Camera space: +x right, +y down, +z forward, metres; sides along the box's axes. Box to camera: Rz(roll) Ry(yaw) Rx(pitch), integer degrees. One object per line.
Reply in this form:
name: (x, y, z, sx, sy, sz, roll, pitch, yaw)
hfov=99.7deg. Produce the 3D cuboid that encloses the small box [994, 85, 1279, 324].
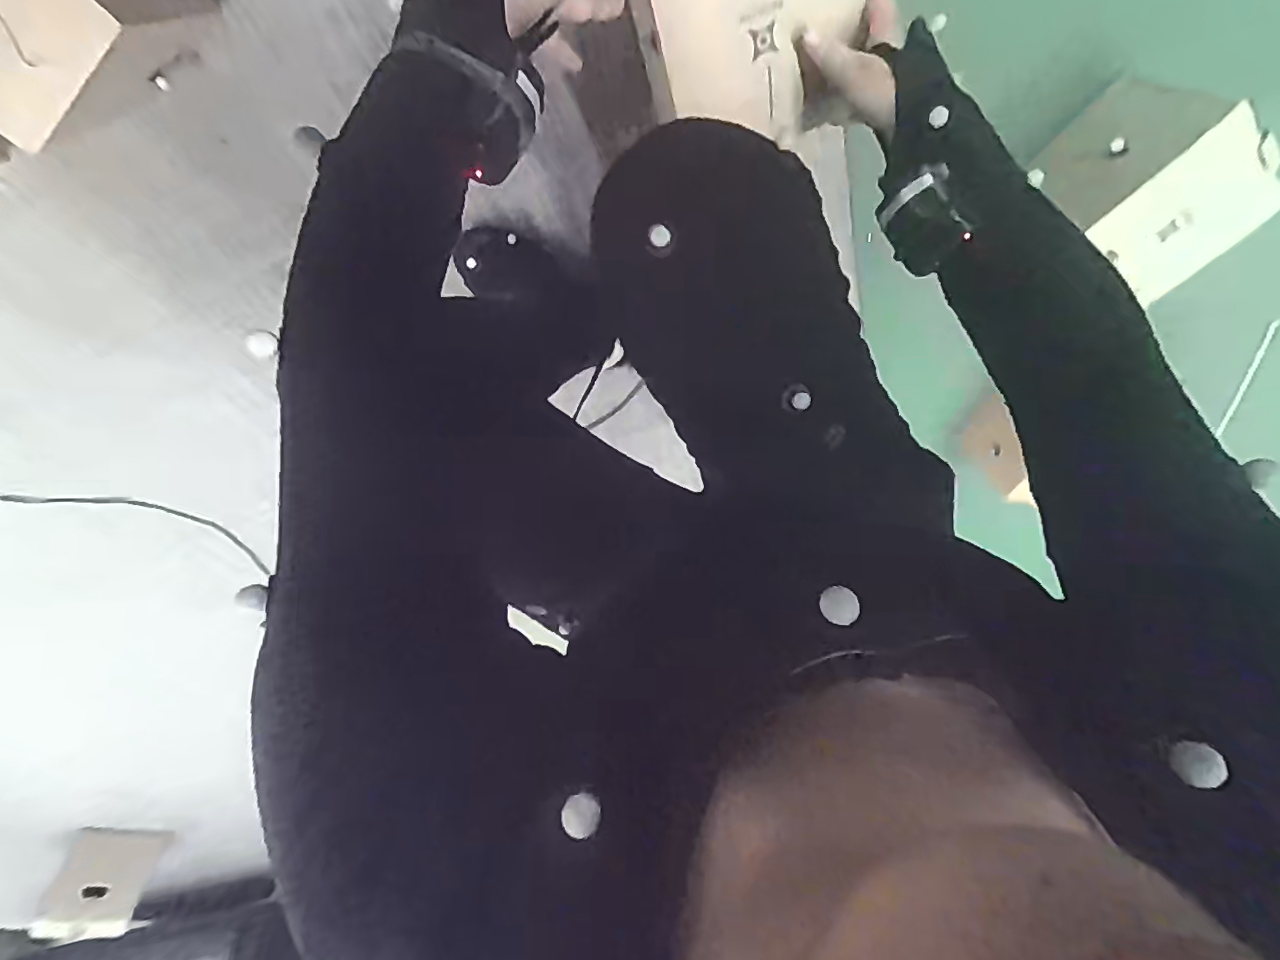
small box: (0.589, -0.335, 0.658, 0.168, 0.176, 0.179, 25, 127, -27)
